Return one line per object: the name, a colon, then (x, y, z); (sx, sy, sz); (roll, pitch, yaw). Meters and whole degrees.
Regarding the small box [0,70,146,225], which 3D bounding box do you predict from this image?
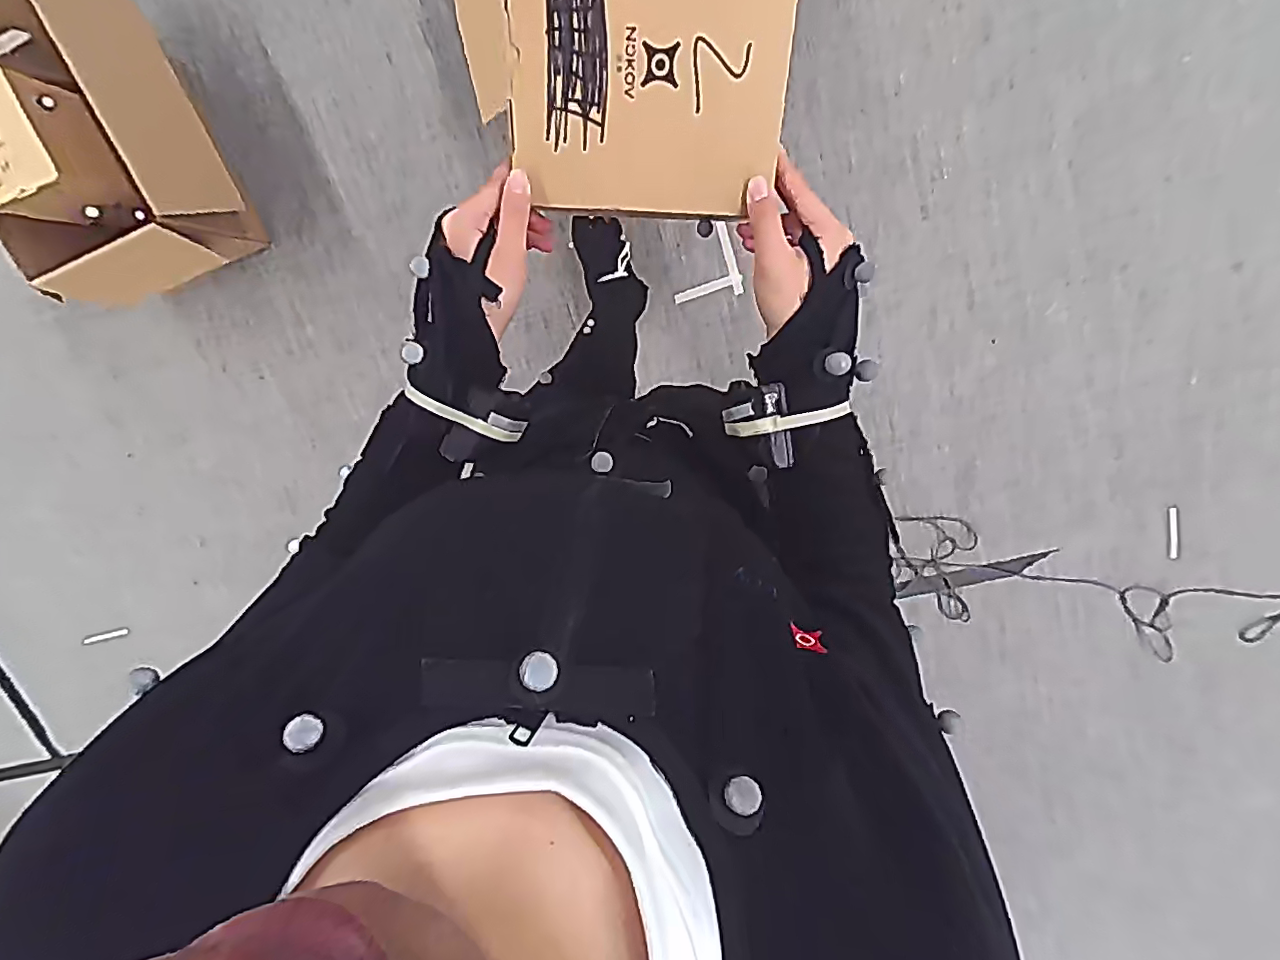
small box: (-1.087, -0.595, 0.993); (0.168, 0.176, 0.179); (-16, 105, 9)
